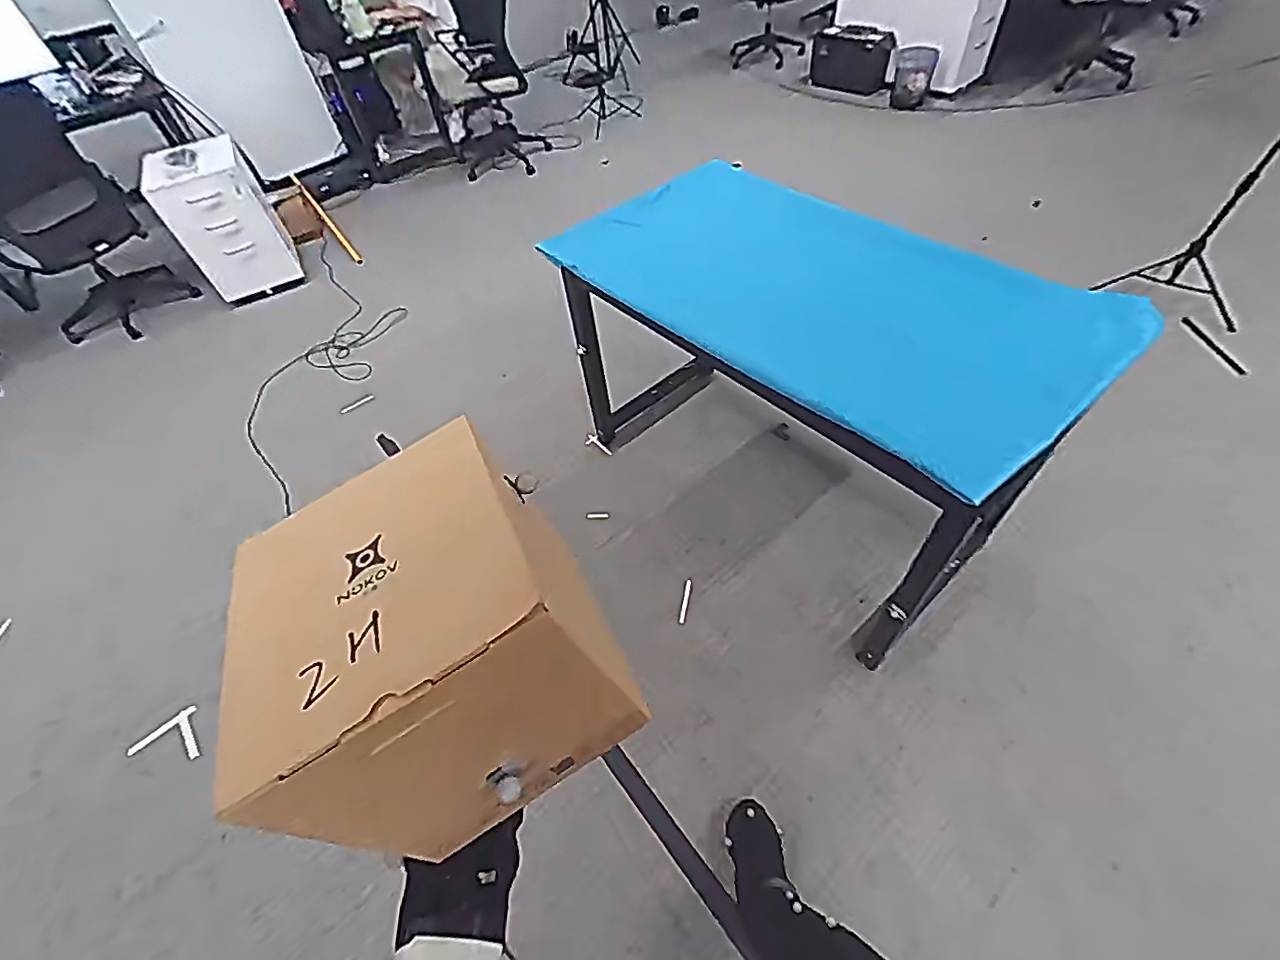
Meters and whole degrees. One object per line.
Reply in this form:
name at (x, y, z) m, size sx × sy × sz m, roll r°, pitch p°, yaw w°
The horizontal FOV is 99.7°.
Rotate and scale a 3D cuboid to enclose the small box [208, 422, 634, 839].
small box at (-0.126, 0.102, 0.356) m, size 0.168 × 0.176 × 0.179 m, roll -30°, pitch 49°, yaw -1°
